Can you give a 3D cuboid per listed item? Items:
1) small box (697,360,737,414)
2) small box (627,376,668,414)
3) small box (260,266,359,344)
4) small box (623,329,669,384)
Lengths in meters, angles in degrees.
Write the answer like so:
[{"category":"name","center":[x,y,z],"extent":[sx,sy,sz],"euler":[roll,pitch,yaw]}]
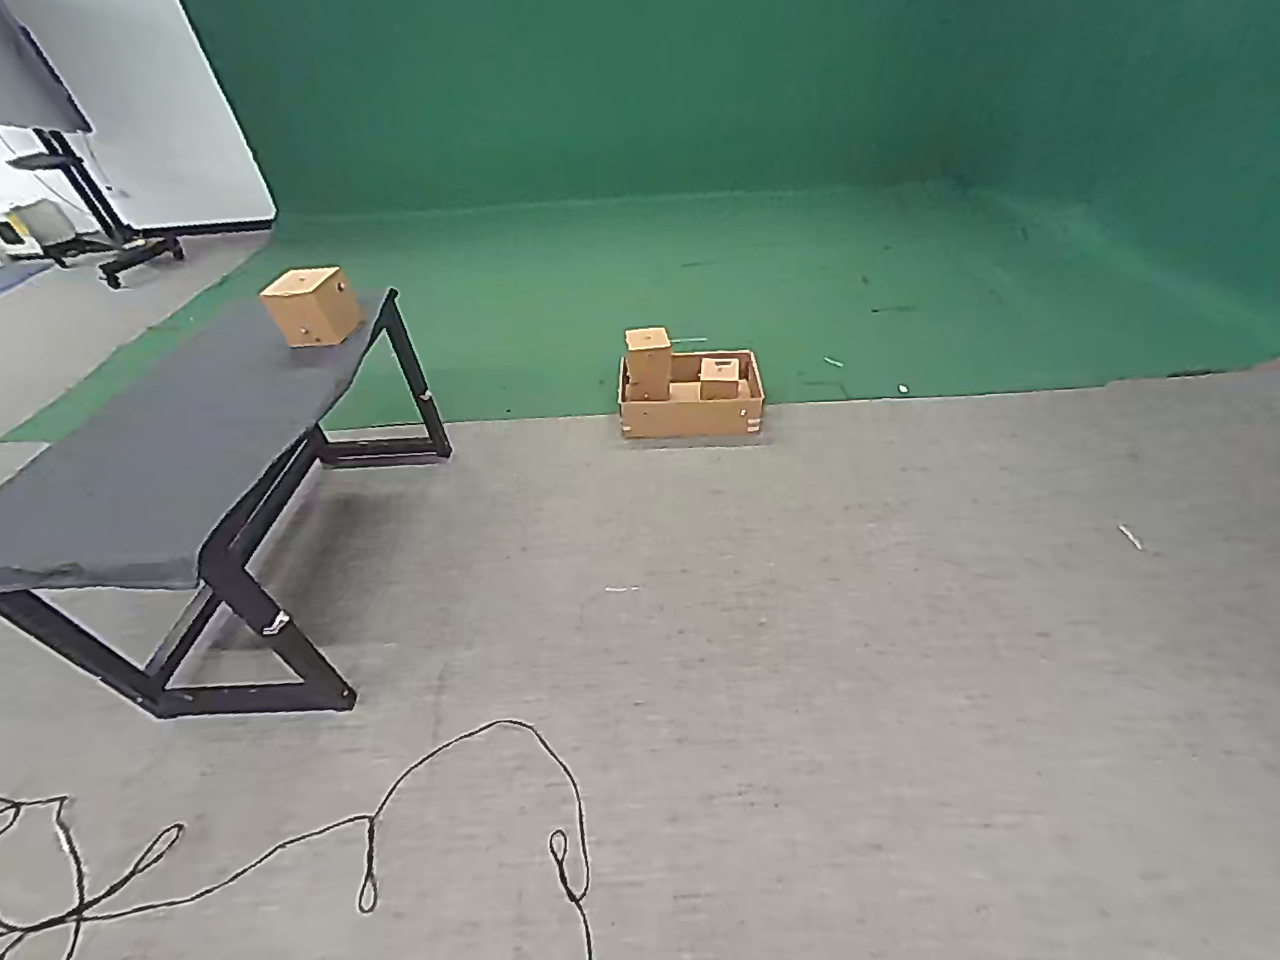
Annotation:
[{"category":"small box","center":[0.346,-0.421,2.439],"extent":[0.168,0.176,0.179],"euler":[3,45,8]},{"category":"small box","center":[0.036,-0.412,2.449],"extent":[0.179,0.176,0.168],"euler":[-1,44,4]},{"category":"small box","center":[-0.987,-0.529,1.638],"extent":[0.168,0.176,0.179],"euler":[-1,44,6]},{"category":"small box","center":[0.025,-0.530,2.335],"extent":[0.179,0.176,0.168],"euler":[-6,45,-6]}]
